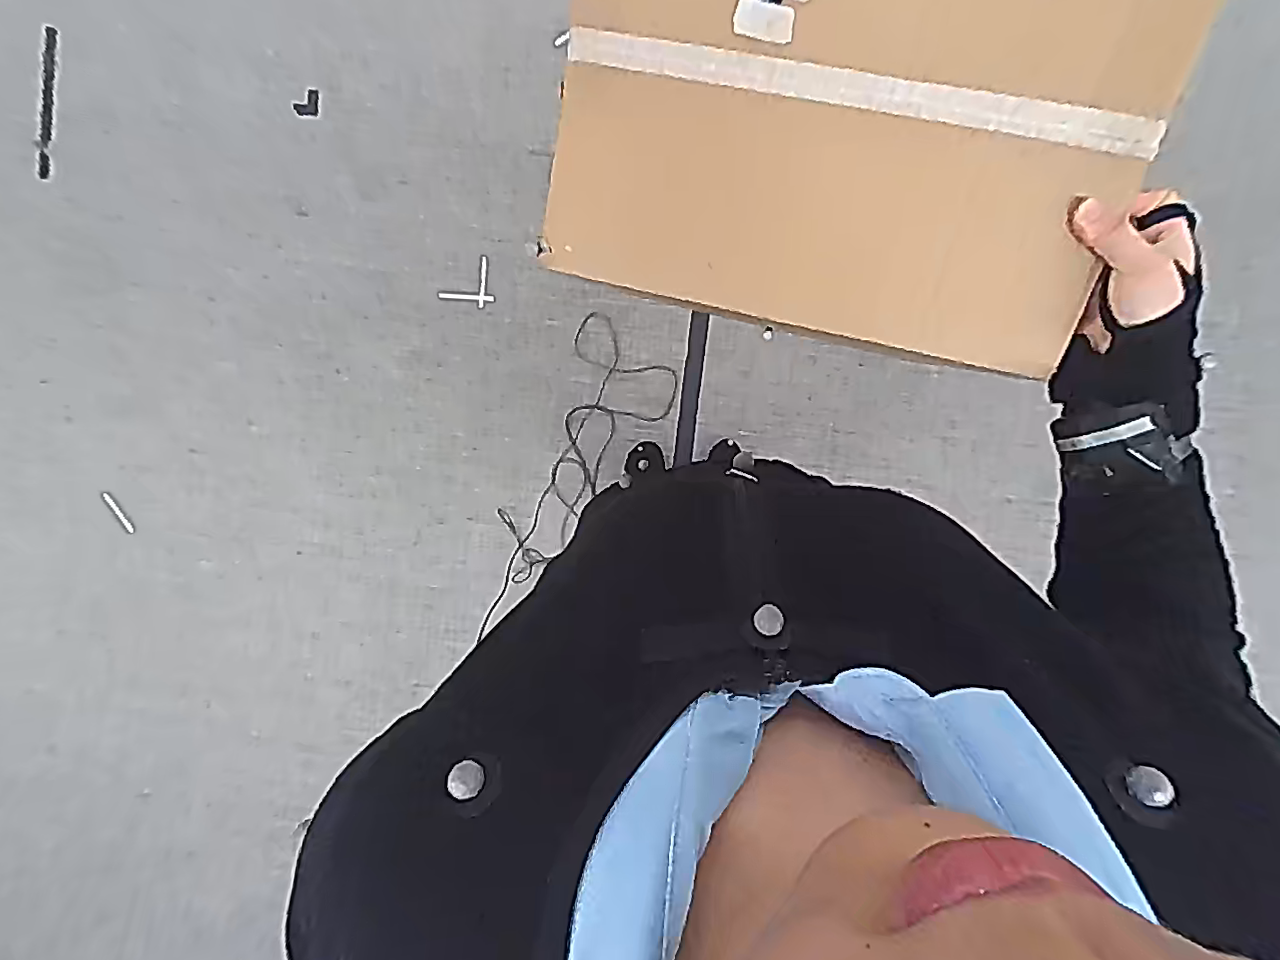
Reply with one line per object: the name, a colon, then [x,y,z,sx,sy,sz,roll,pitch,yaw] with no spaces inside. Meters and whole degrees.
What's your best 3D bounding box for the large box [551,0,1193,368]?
large box: [0.174,-0.310,0.532,0.408,0.320,0.320,15,106,8]
